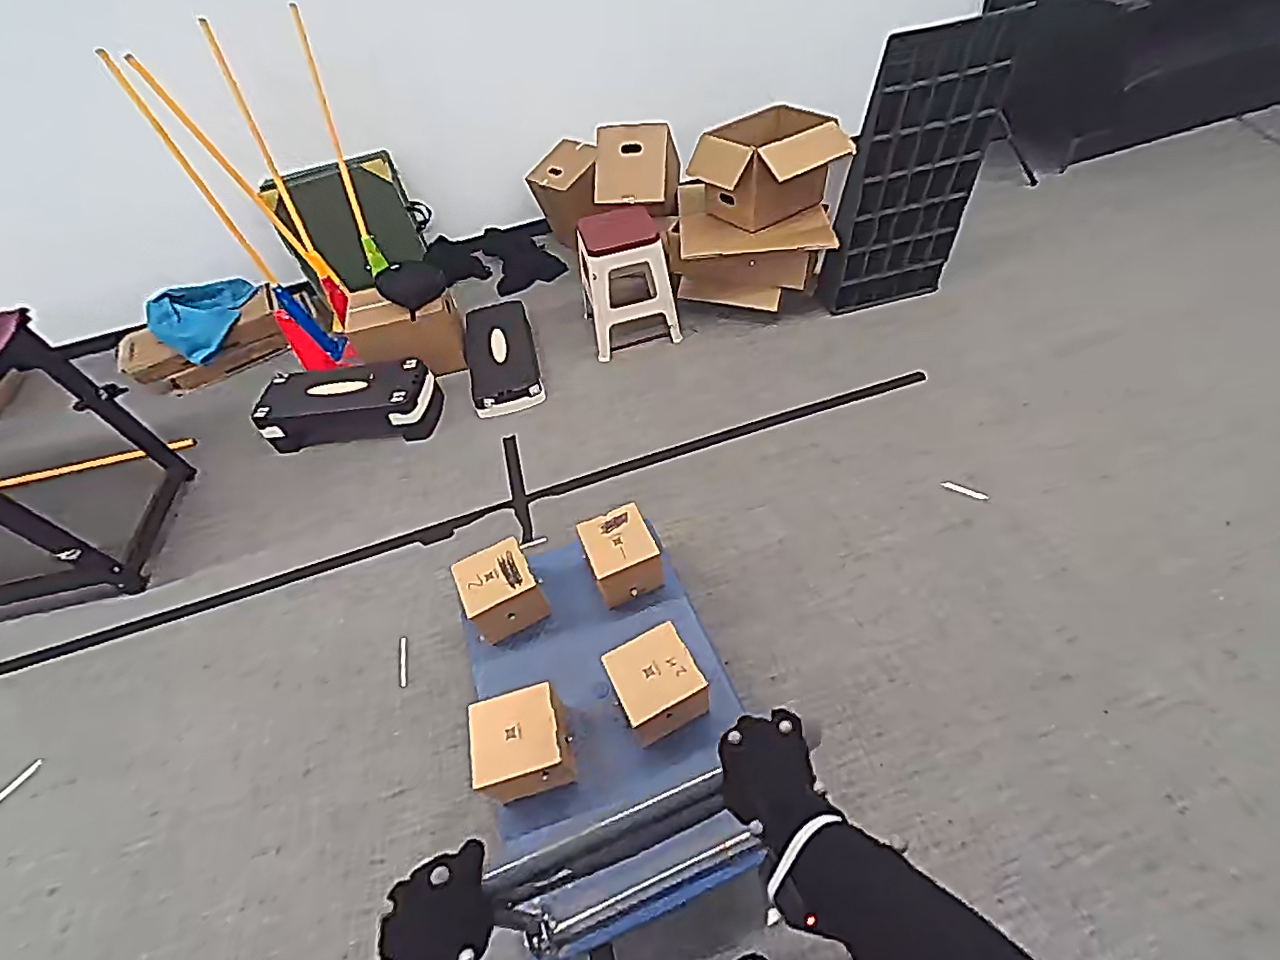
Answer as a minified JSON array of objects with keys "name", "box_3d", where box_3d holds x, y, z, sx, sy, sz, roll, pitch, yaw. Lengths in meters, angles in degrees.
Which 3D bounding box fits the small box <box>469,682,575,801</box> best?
[{"name":"small box","box_3d":[-0.251,0.565,1.161,0.179,0.176,0.168,-15,50,-6]}]

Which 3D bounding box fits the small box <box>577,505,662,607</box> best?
[{"name":"small box","box_3d":[-0.053,0.202,1.422,0.168,0.176,0.179,-22,53,-9]}]

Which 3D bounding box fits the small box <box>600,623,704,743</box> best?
[{"name":"small box","box_3d":[0.032,0.457,1.205,0.179,0.176,0.168,-25,52,-11]}]
